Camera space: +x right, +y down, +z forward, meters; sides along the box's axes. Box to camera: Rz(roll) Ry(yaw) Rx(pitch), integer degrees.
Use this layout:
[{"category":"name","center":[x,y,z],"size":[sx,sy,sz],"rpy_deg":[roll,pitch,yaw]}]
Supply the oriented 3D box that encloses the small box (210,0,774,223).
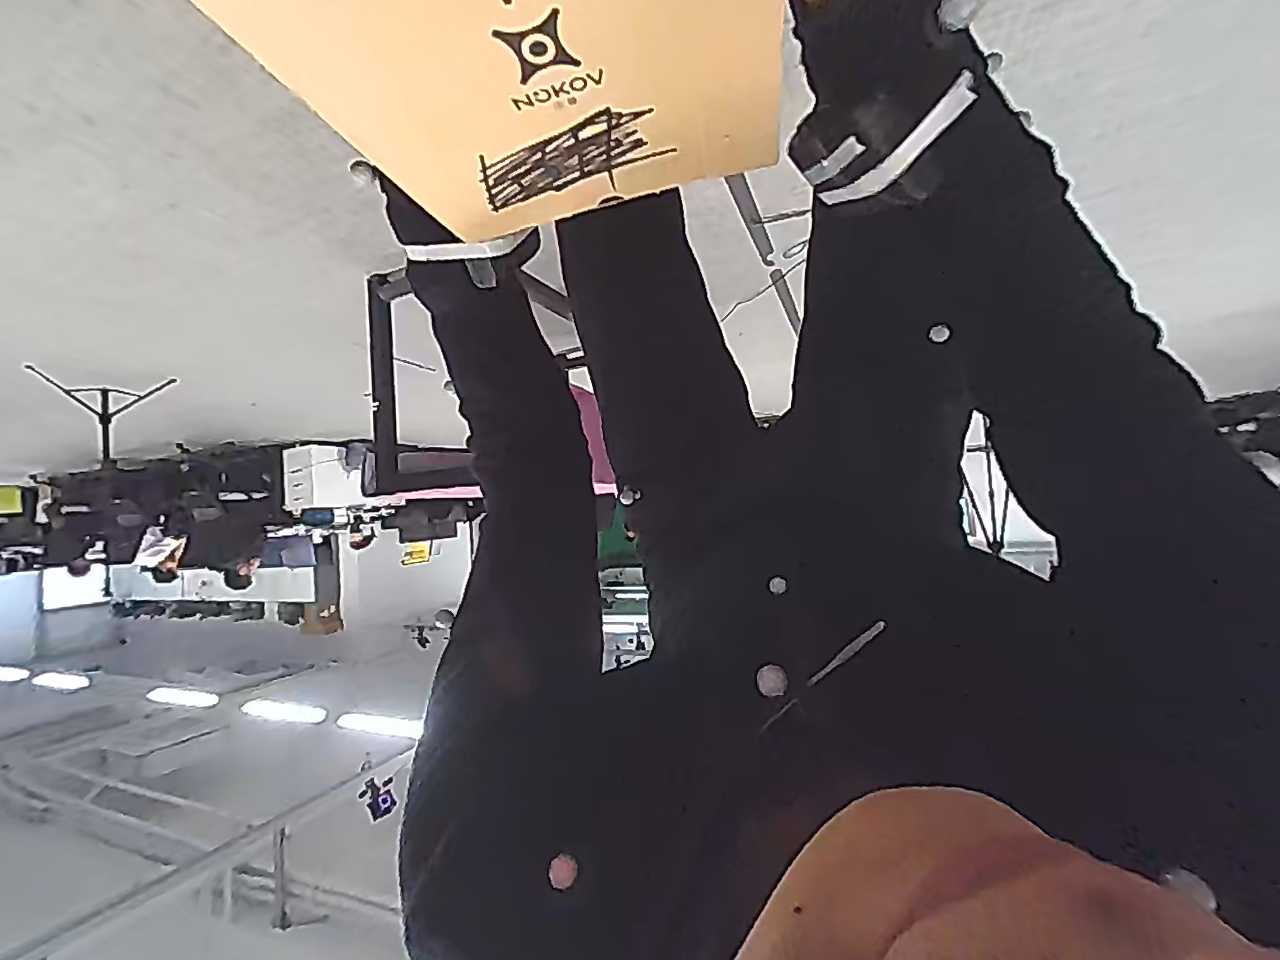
[{"category":"small box","center":[-0.046,-0.231,0.194],"size":[0.168,0.176,0.179],"rpy_deg":[-10,176,12]}]
